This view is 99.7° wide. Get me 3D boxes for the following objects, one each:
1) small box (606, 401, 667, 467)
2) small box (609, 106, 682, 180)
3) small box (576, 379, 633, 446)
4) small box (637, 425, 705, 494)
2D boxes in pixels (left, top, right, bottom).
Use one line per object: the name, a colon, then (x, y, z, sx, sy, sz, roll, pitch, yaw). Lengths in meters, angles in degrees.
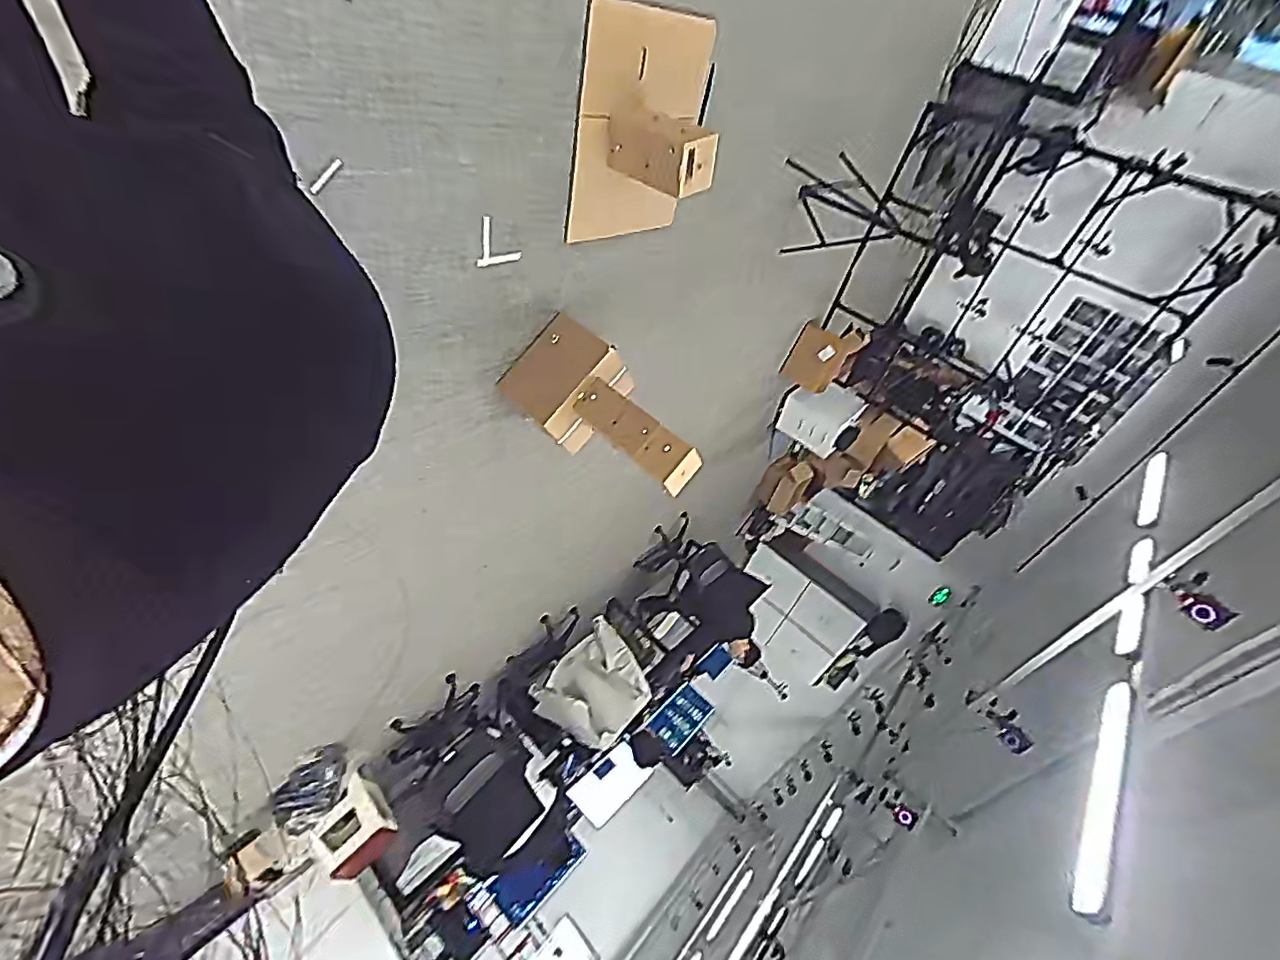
small box: (-0.001, -0.173, 2.055, 0.168, 0.176, 0.179, -50, 157, -3)
small box: (0.016, -1.155, 1.847, 0.179, 0.176, 0.168, -35, 149, -31)
small box: (-0.119, -0.268, 2.118, 0.168, 0.176, 0.179, -50, 155, -3)
small box: (0.112, -0.078, 1.986, 0.168, 0.176, 0.179, -50, 156, -3)
